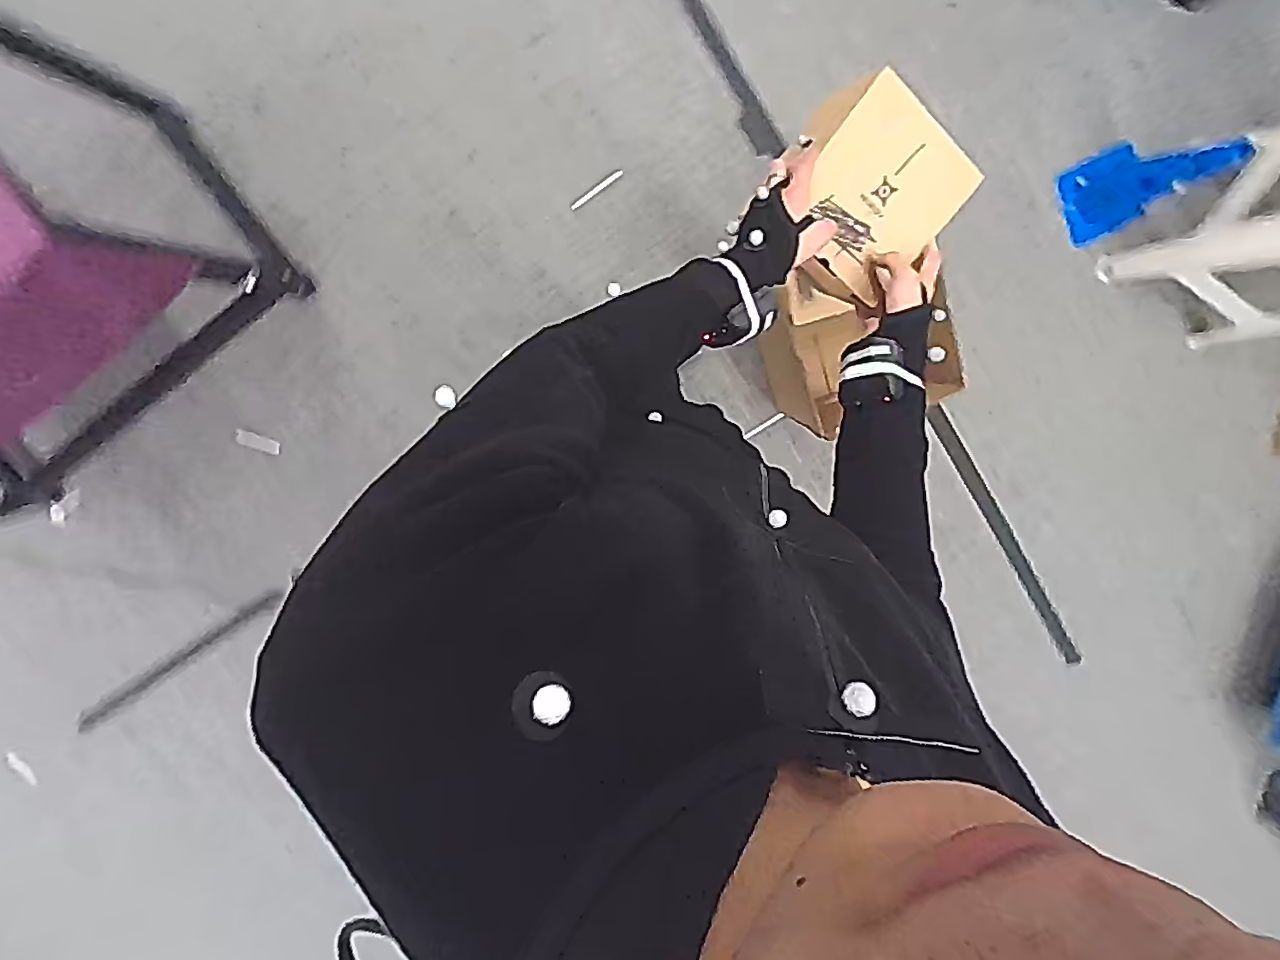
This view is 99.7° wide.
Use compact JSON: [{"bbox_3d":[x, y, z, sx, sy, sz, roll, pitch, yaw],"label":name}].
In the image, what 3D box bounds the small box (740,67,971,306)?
[{"bbox_3d":[0.242,-0.343,0.662,0.168,0.176,0.179,33,109,-17],"label":"small box"}]
